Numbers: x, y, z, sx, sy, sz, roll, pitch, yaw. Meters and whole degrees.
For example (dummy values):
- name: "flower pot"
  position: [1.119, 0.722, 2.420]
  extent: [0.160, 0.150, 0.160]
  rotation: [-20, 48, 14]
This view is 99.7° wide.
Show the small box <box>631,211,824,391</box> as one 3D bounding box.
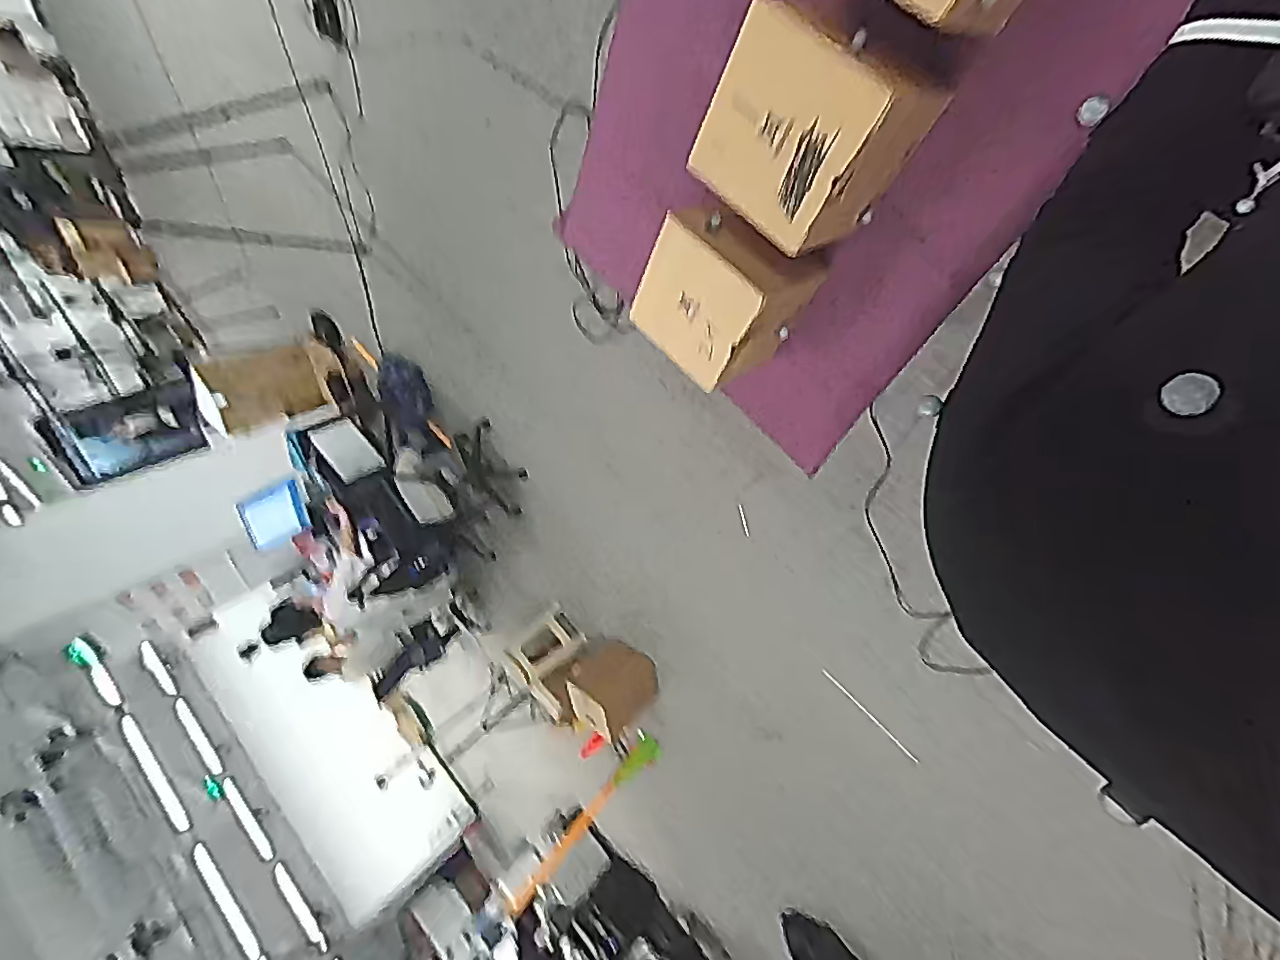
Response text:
- name: "small box"
  position: [0.123, -0.264, 0.778]
  extent: [0.179, 0.176, 0.168]
  rotation: [46, 141, 14]
